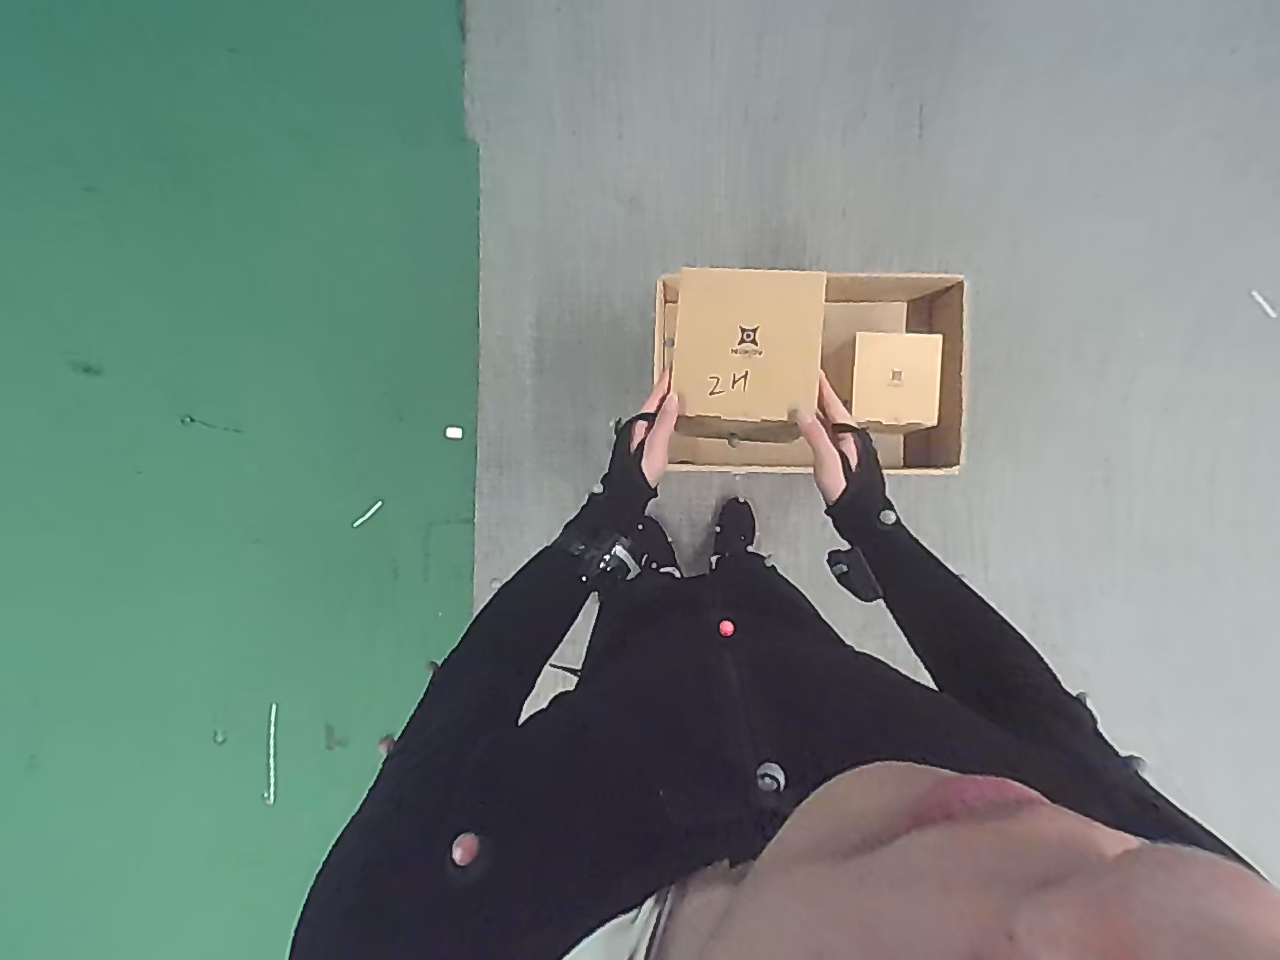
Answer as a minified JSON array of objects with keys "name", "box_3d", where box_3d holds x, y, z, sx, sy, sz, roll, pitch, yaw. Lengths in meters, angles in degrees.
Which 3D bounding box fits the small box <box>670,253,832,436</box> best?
[{"name":"small box","box_3d":[0.131,-0.159,0.678,0.168,0.176,0.179,5,88,8]}]
